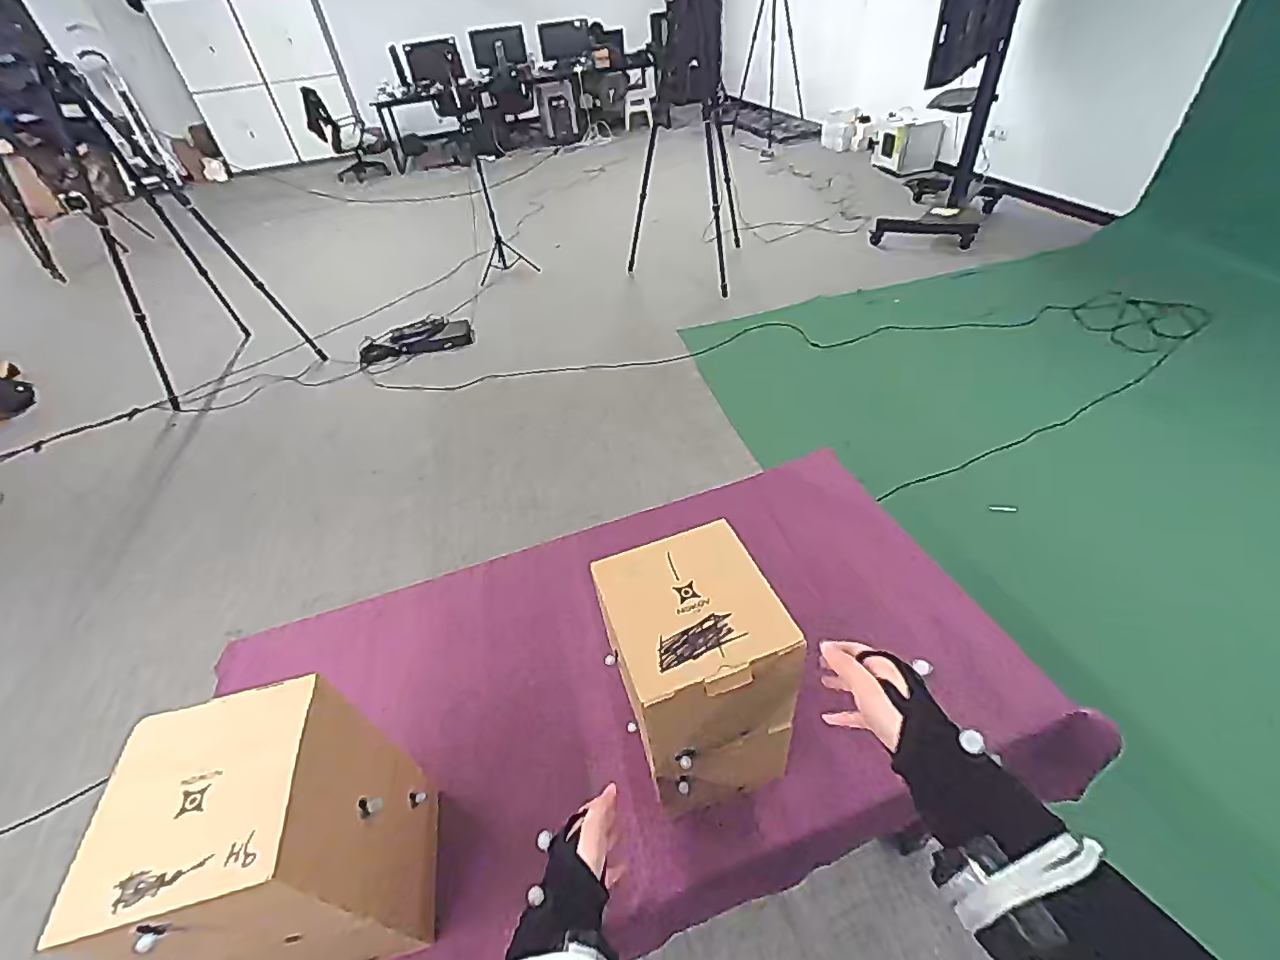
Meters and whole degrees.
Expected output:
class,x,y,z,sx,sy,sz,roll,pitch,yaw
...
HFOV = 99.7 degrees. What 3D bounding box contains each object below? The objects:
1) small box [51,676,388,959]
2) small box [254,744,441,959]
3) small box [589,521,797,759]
class,x,y,z,sx,sy,sz,roll,pitch,yaw
small box,-0.362,0.326,0.516,0.168,0.176,0.179,-15,42,-5
small box,-0.343,0.446,0.628,0.168,0.176,0.179,-14,43,-5
small box,0.056,0.182,0.604,0.168,0.176,0.179,-18,42,-10
